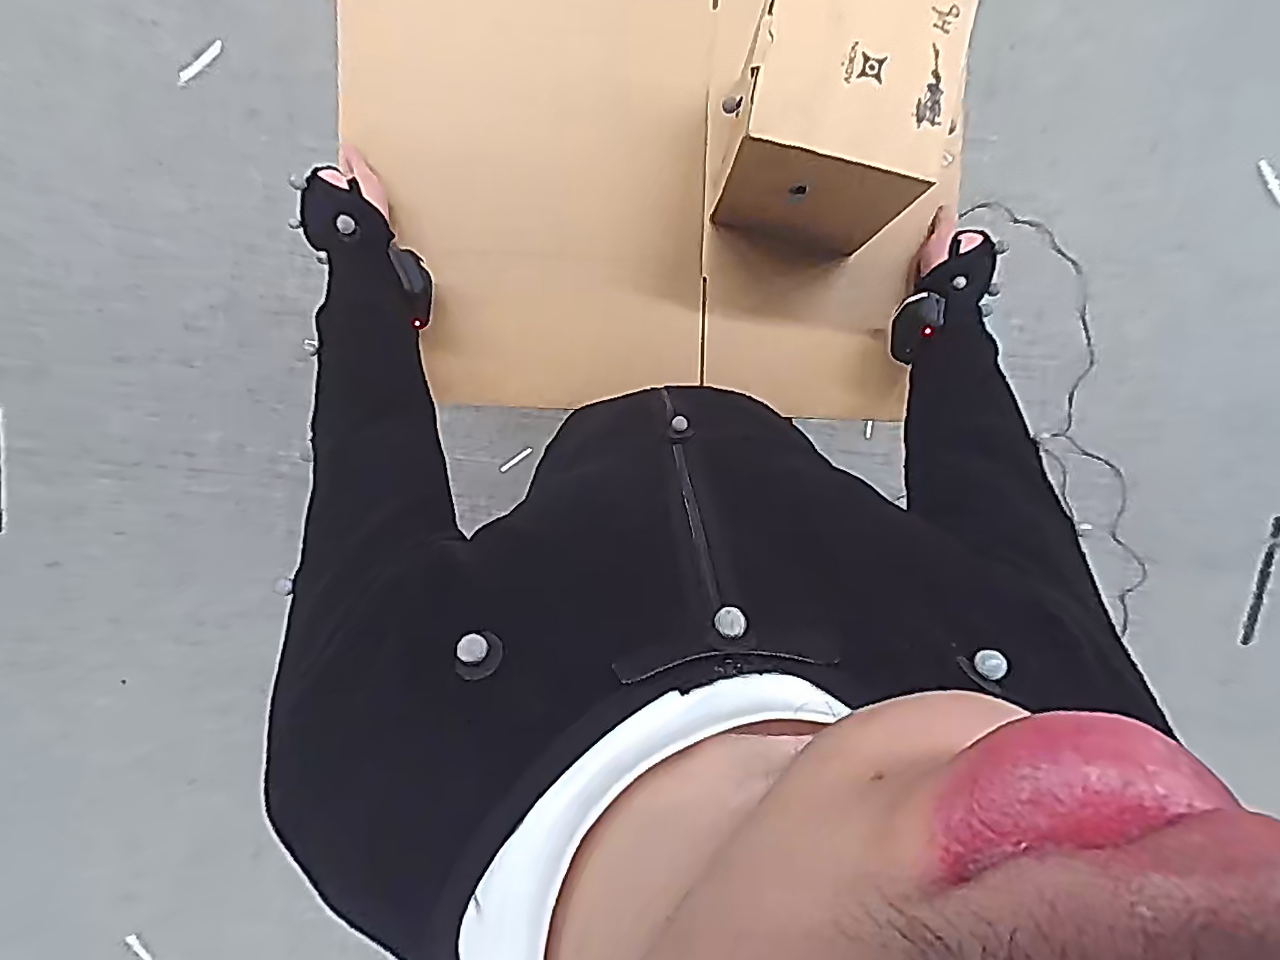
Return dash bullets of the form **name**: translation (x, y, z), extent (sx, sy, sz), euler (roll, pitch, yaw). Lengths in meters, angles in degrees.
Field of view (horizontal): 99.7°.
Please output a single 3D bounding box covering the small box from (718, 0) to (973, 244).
- **small box**: translation (0.187, -0.364, 0.549), extent (0.179, 0.176, 0.168), euler (12, 92, -2)
